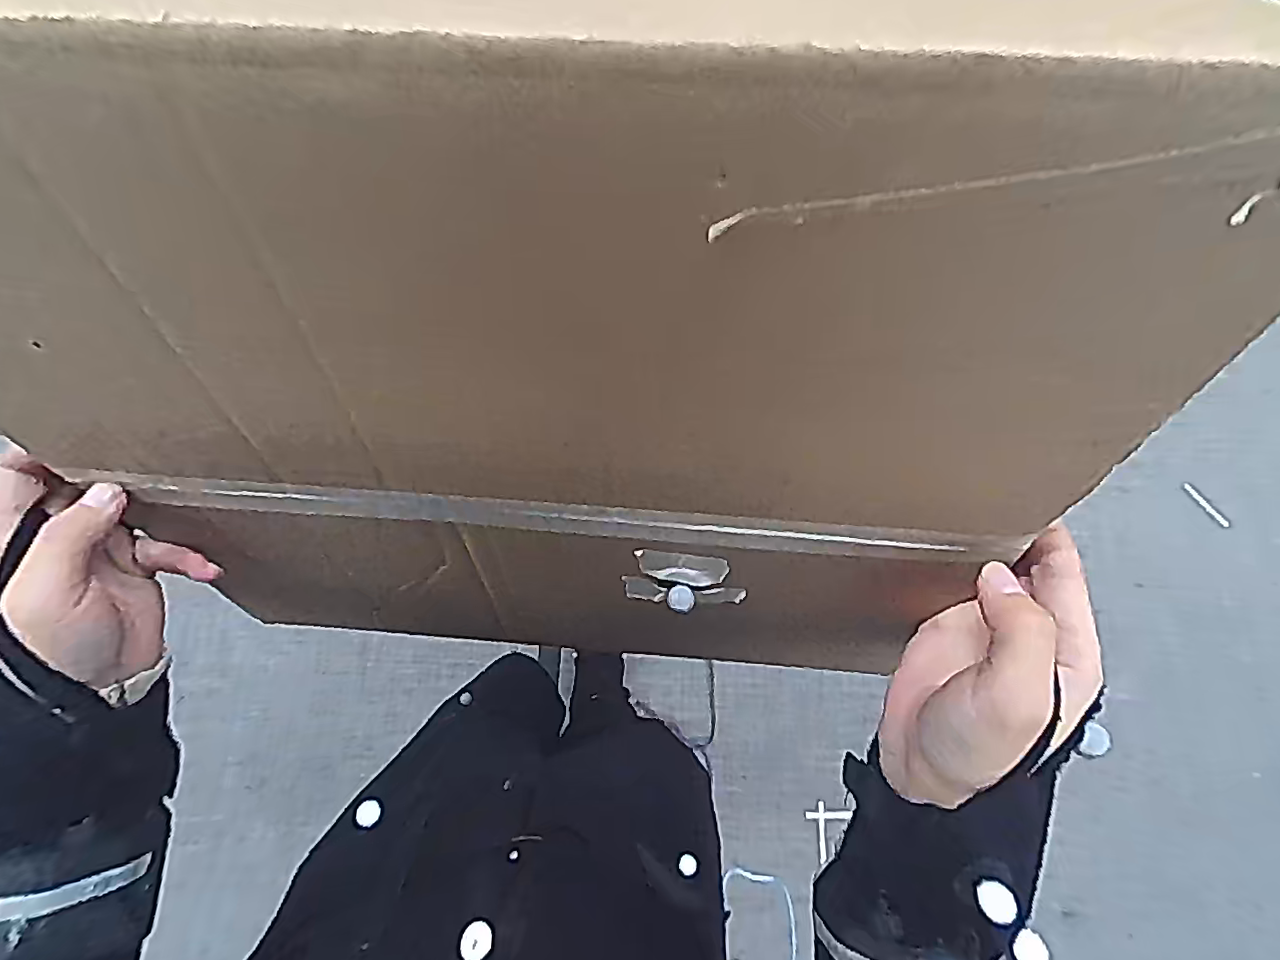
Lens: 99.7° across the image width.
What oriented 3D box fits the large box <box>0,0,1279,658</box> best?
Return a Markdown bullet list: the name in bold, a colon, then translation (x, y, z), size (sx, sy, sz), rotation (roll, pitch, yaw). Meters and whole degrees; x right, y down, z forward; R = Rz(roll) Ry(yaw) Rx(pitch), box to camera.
- **large box**: translation (-0.036, -0.108, 0.329), size (0.408, 0.320, 0.320), rotation (3, 53, 2)
